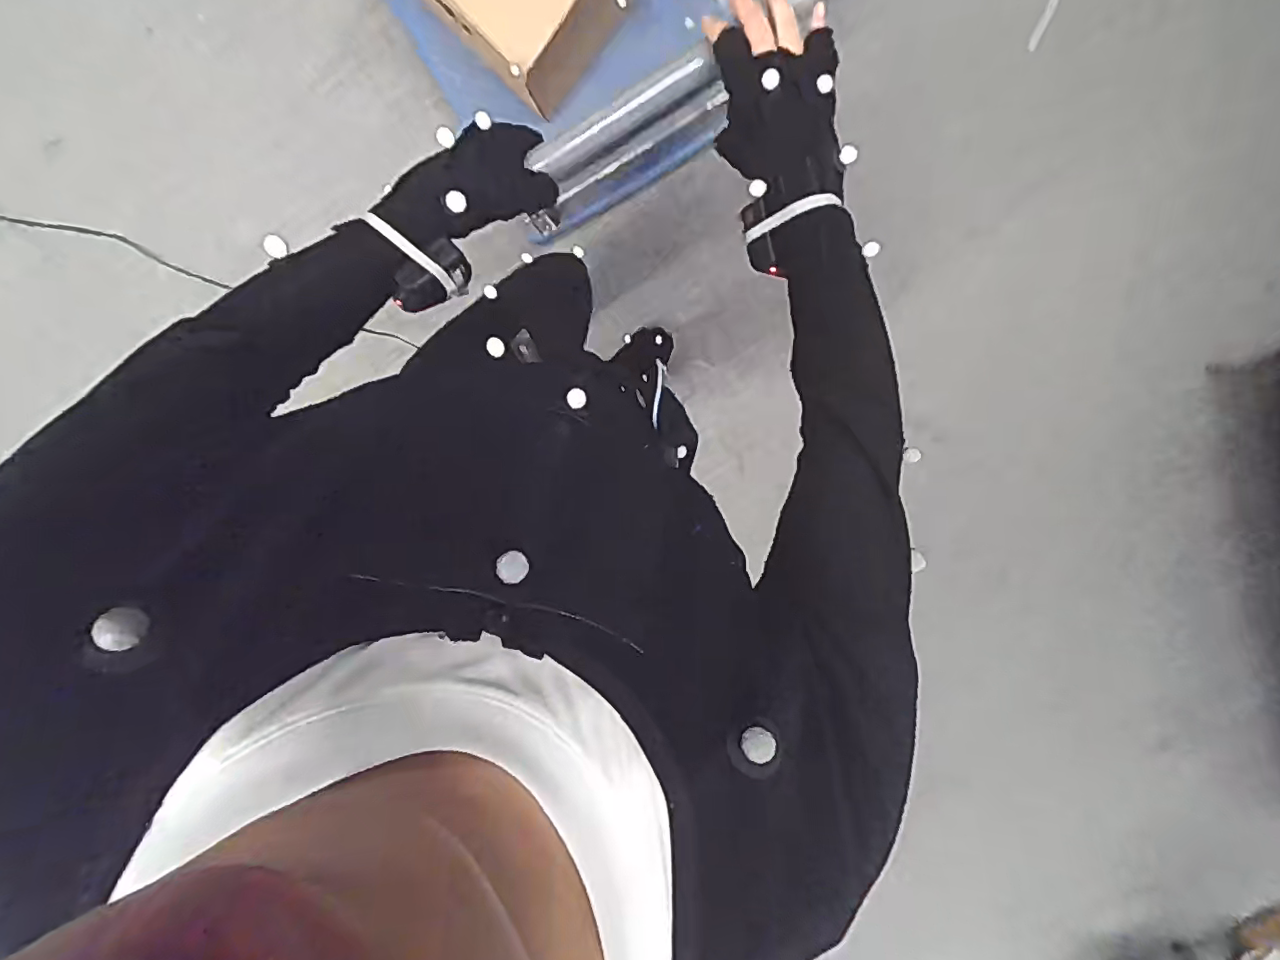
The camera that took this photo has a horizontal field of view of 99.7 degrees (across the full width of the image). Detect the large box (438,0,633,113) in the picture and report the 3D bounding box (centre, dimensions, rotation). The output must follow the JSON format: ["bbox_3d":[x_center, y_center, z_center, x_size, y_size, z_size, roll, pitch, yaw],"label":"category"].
[{"bbox_3d":[-0.144,-0.879,0.822,0.320,0.320,0.408,39,107,-16],"label":"large box"}]
